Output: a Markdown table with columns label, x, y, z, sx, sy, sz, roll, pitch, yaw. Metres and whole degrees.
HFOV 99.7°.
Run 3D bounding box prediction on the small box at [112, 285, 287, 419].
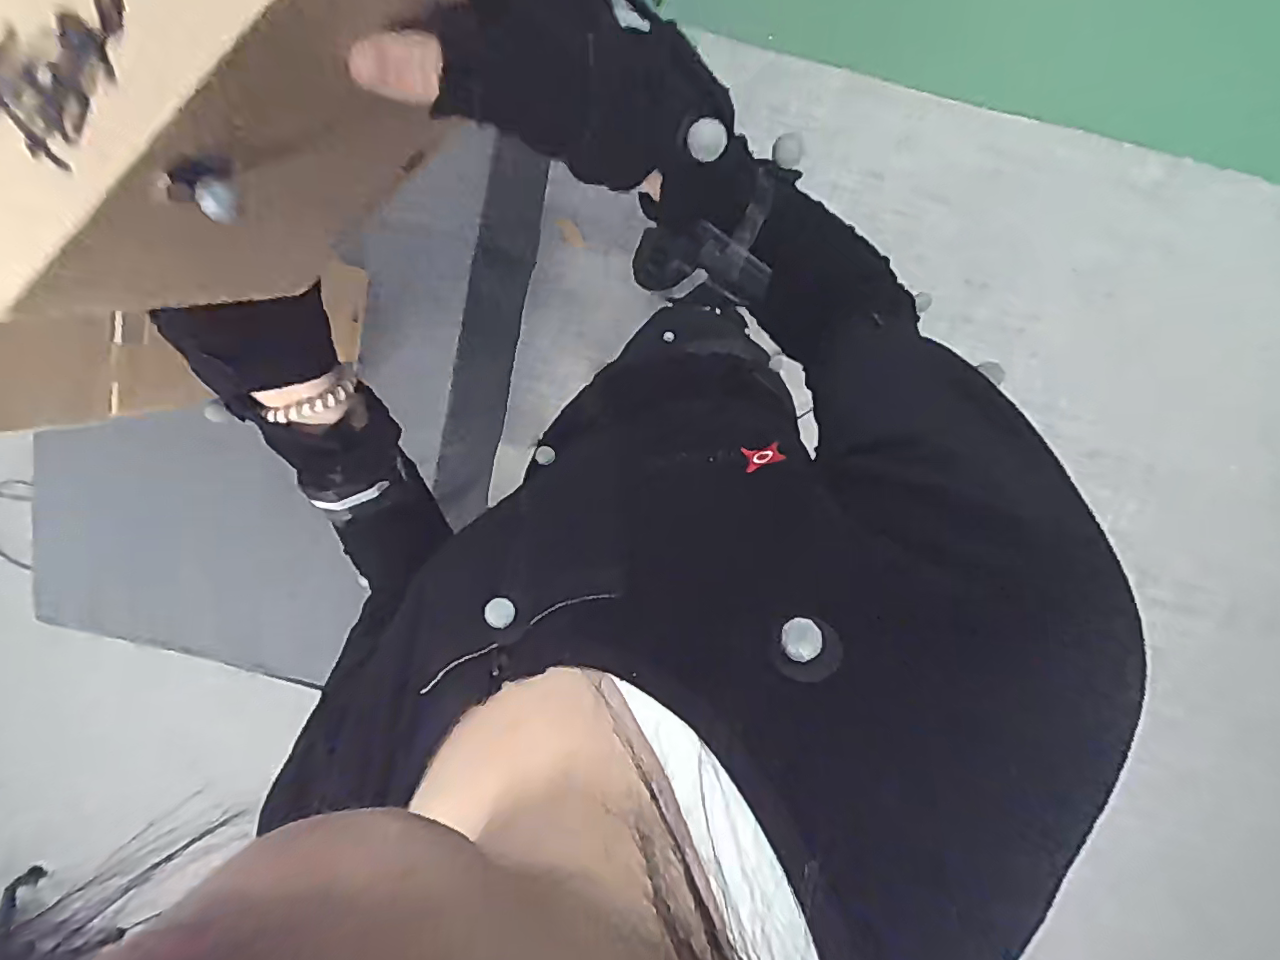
| label | x | y | z | sx | sy | sz | roll | pitch | yaw |
| --- | --- | --- | --- | --- | --- | --- | --- | --- | --- |
| small box | -0.480 | -0.162 | 0.509 | 0.179 | 0.176 | 0.168 | 15 | 103 | 1 |

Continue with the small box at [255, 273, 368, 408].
| label | x | y | z | sx | sy | sz | roll | pitch | yaw |
| --- | --- | --- | --- | --- | --- | --- | --- | --- | --- |
| small box | -0.468 | -0.195 | 0.668 | 0.179 | 0.176 | 0.168 | 15 | 103 | 2 |
